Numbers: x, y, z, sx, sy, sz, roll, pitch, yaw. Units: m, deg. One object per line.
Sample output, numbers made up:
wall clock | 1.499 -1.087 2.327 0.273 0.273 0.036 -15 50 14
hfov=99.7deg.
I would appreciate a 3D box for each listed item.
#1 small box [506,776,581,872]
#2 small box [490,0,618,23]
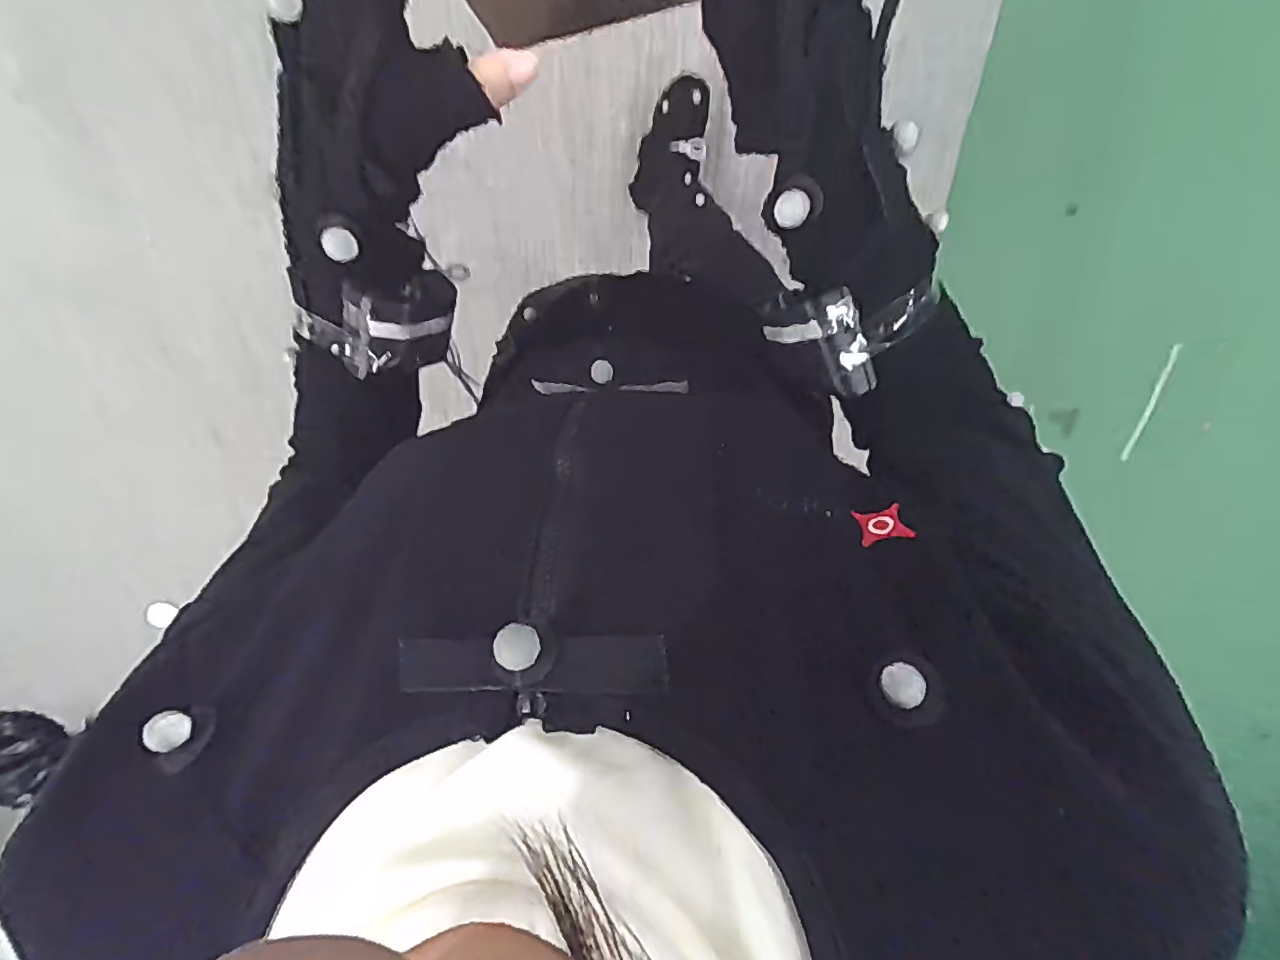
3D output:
small box | -0.259 0.947 1.497 0.179 0.176 0.168 -1 113 2
small box | -0.024 -0.337 0.228 0.168 0.176 0.179 -11 110 6
